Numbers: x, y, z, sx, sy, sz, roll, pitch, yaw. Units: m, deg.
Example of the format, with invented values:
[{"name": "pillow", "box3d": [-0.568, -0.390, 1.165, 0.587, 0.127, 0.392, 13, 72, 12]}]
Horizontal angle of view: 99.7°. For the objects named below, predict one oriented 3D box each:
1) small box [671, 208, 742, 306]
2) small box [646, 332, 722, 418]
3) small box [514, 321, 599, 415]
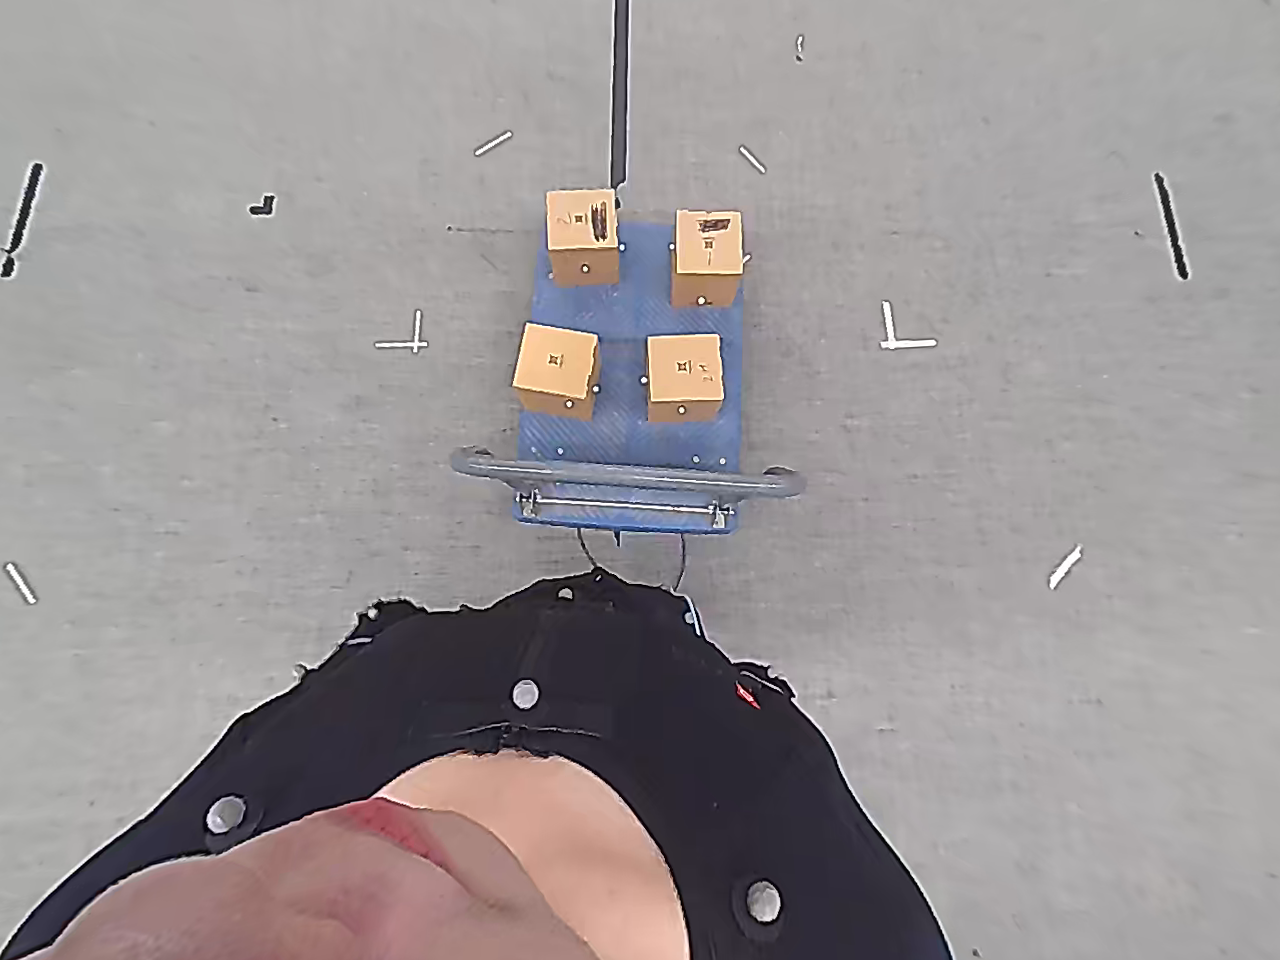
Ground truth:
[{"name": "small box", "box3d": [0.169, -0.583, 1.426, 0.168, 0.176, 0.179, 0, 80, -1]}, {"name": "small box", "box3d": [0.104, -0.258, 1.362, 0.179, 0.176, 0.168, -2, 79, -2]}, {"name": "small box", "box3d": [-0.202, -0.274, 1.358, 0.179, 0.176, 0.168, 9, 78, -1]}]
